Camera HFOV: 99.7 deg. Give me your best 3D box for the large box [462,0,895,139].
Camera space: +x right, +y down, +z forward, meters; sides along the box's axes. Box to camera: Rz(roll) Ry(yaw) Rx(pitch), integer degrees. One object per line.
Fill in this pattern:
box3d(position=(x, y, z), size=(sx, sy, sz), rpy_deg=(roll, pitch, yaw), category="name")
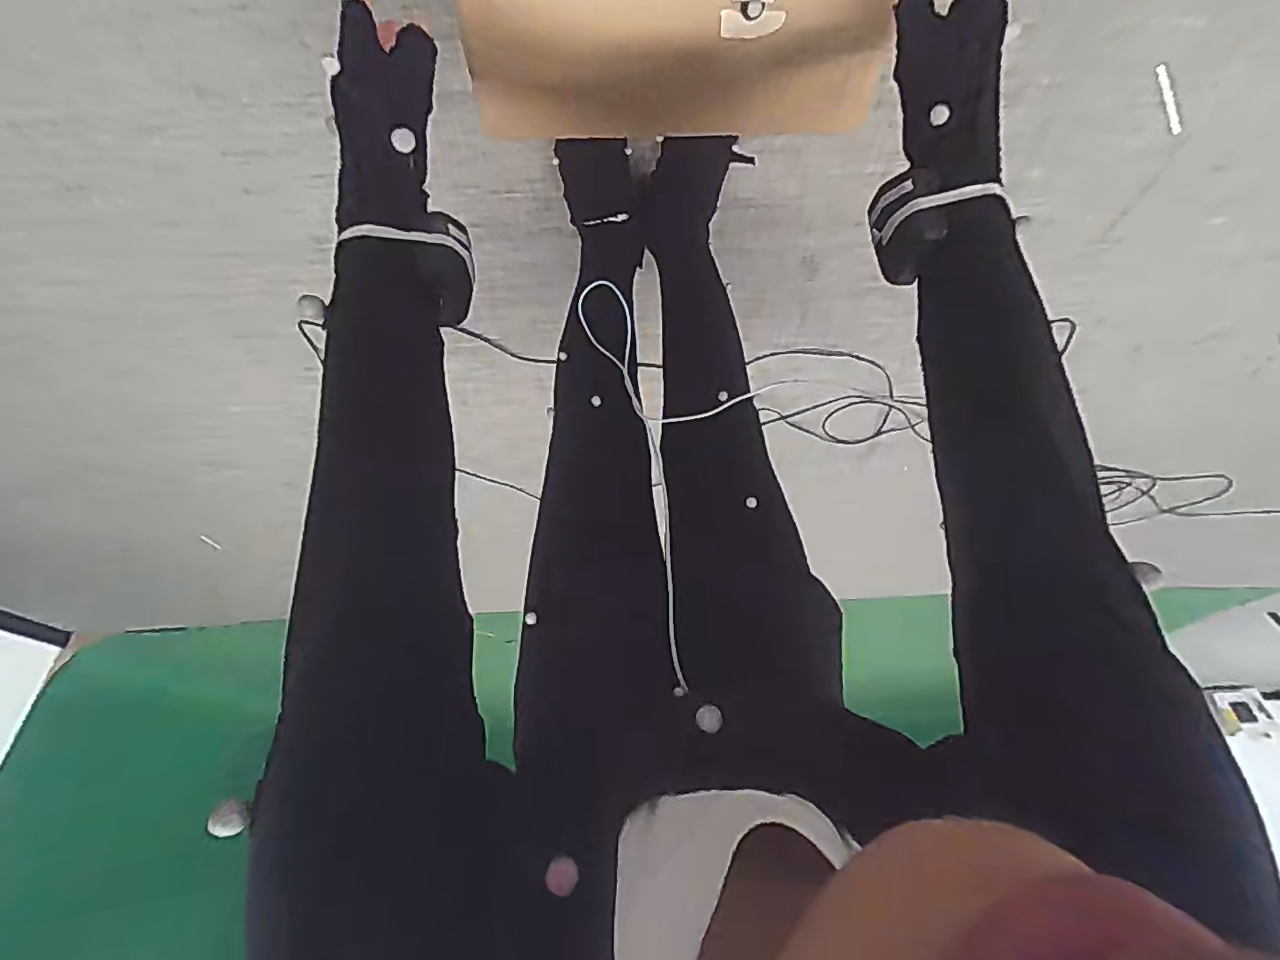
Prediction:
box3d(position=(0.030, -0.583, 0.537), size=(0.408, 0.320, 0.320), rpy_deg=(-2, 147, 0), category="large box")
